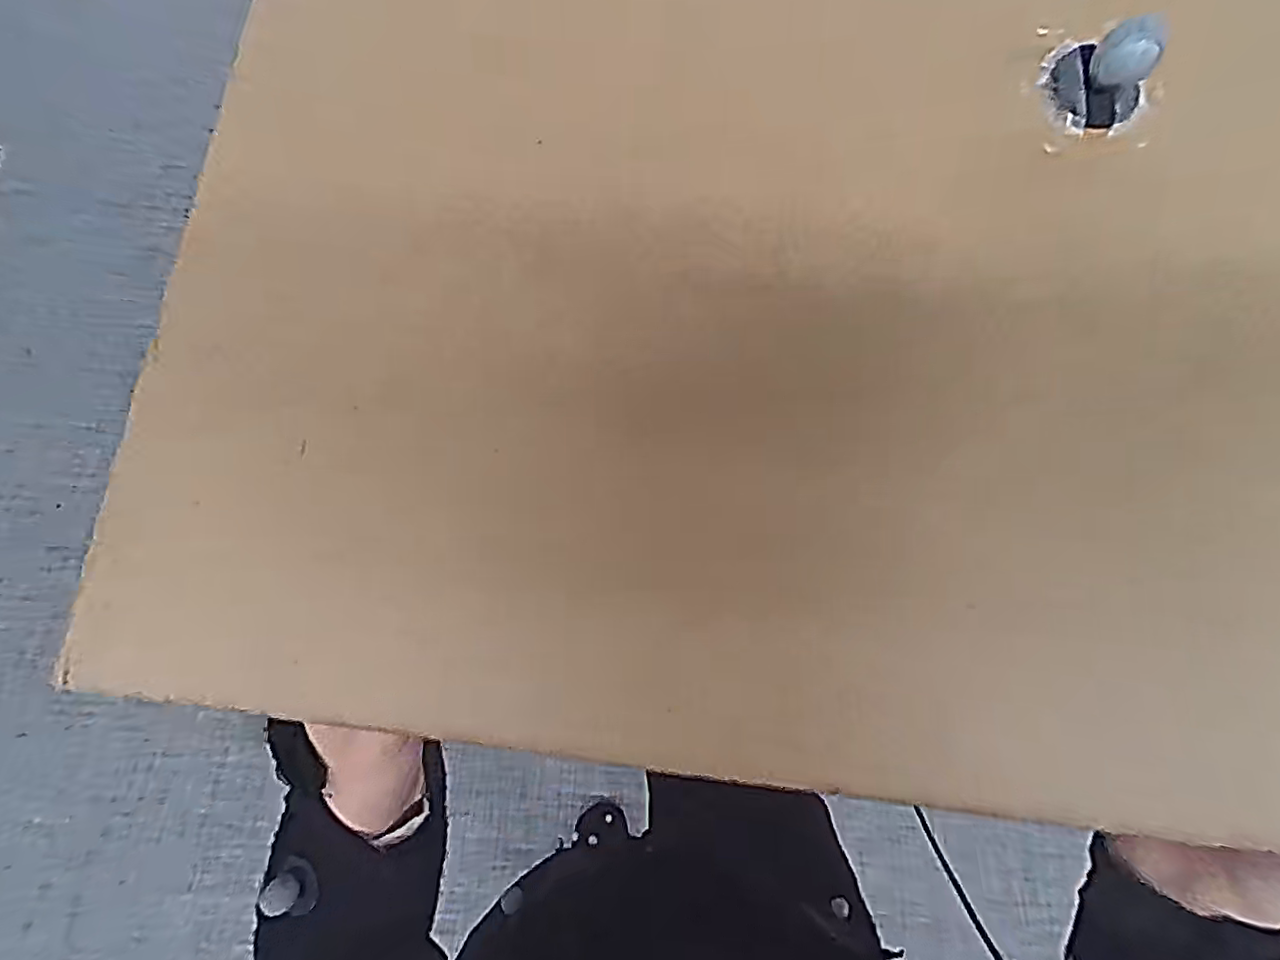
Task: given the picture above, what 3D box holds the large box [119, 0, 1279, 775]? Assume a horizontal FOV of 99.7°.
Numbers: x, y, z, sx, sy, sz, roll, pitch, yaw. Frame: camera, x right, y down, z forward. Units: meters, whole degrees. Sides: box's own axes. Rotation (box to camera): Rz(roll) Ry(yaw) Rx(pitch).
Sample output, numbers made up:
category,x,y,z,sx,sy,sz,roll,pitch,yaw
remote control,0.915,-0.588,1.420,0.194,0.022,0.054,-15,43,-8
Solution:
category,x,y,z,sx,sy,sz,roll,pitch,yaw
large box,0.099,-0.071,0.280,0.408,0.320,0.320,8,82,0
